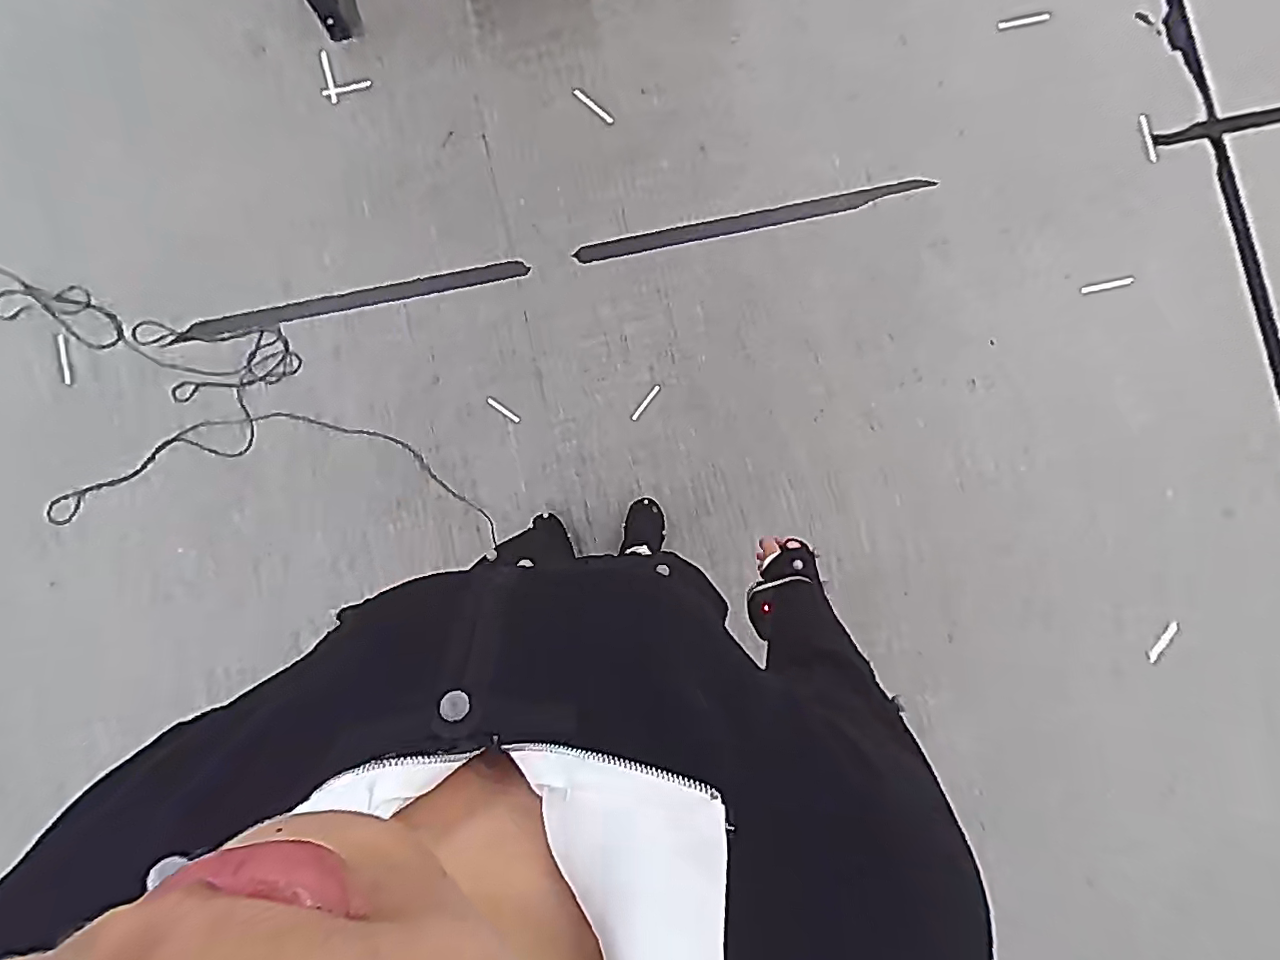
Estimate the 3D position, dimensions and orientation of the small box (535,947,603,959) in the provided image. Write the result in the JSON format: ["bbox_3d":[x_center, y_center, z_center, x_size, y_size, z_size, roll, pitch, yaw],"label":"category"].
[{"bbox_3d":[-0.120,0.828,0.765,0.168,0.176,0.179,-12,86,-3],"label":"small box"}]
